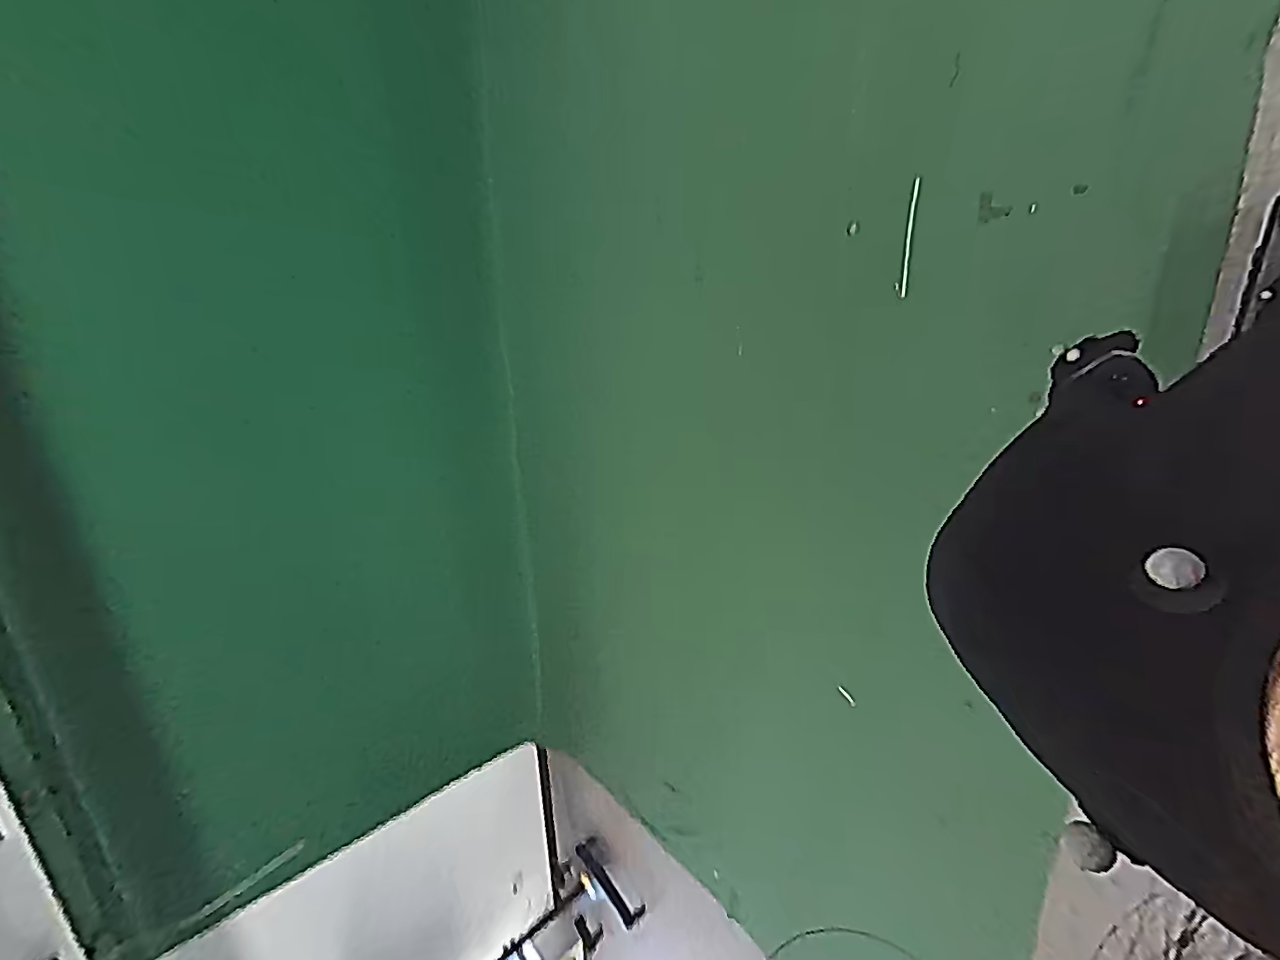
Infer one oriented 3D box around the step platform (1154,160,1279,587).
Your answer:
[{"bbox_3d":[1.114,-0.169,0.887,0.286,0.204,0.684,16,115,45],"label":"step platform"}]
